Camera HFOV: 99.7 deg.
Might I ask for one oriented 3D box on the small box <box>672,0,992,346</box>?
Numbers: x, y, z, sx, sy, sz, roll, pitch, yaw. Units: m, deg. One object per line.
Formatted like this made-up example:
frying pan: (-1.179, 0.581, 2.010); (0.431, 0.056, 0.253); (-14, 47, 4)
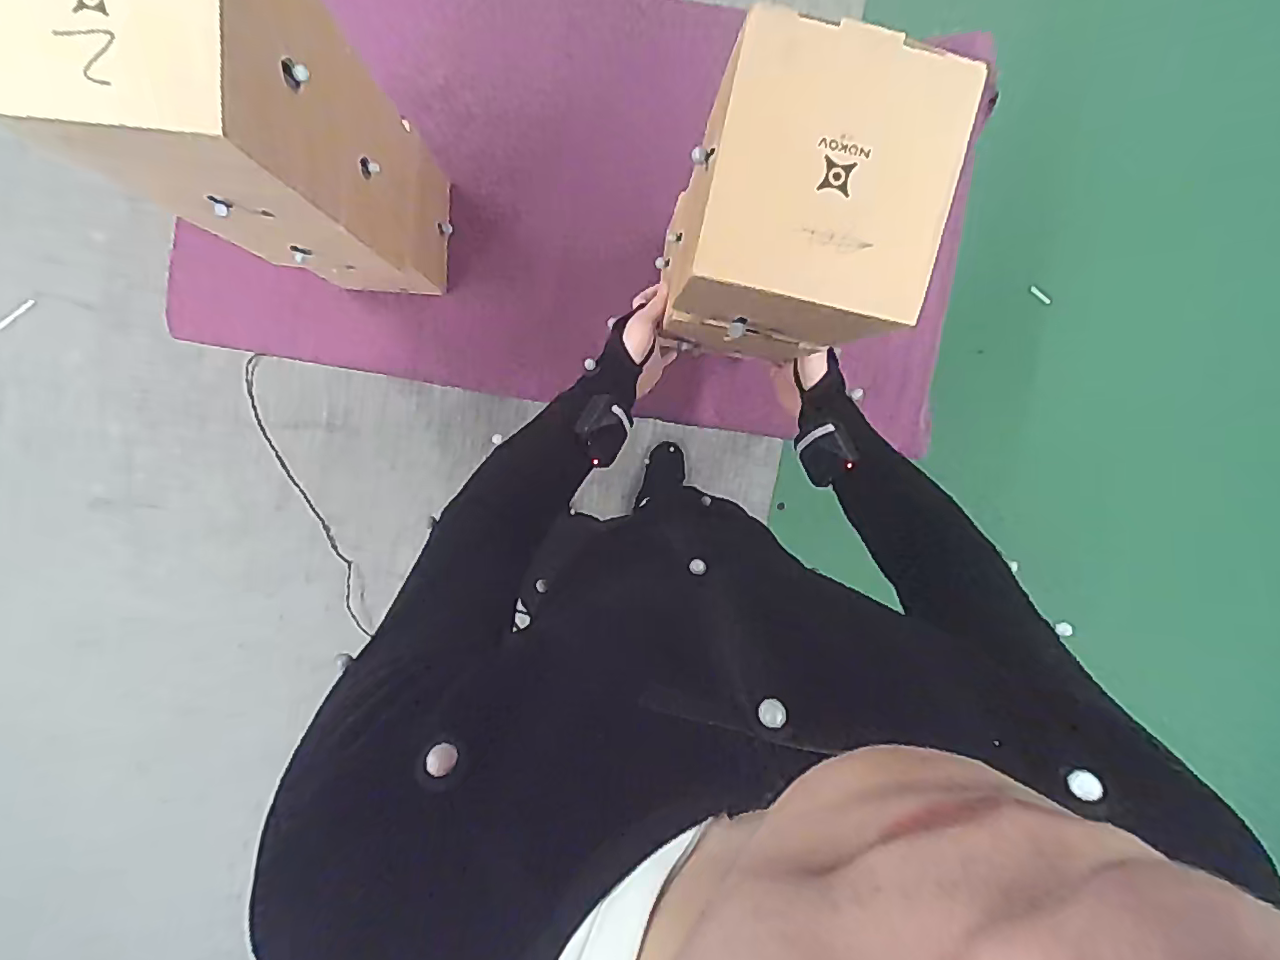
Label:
small box: (0.128, -0.218, 0.435); (0.168, 0.176, 0.179); (13, 98, -5)

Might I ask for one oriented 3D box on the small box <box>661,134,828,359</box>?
small box: (0.121, -0.237, 0.597); (0.168, 0.176, 0.179); (11, 97, -5)

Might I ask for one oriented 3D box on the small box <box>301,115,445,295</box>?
small box: (-0.377, -0.371, 0.743); (0.168, 0.176, 0.179); (4, 94, -3)

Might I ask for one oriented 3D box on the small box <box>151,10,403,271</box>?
small box: (-0.369, -0.339, 0.580); (0.168, 0.176, 0.179); (4, 95, -4)

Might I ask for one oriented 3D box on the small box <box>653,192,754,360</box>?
small box: (0.112, -0.270, 0.759); (0.168, 0.176, 0.179); (8, 98, -4)
